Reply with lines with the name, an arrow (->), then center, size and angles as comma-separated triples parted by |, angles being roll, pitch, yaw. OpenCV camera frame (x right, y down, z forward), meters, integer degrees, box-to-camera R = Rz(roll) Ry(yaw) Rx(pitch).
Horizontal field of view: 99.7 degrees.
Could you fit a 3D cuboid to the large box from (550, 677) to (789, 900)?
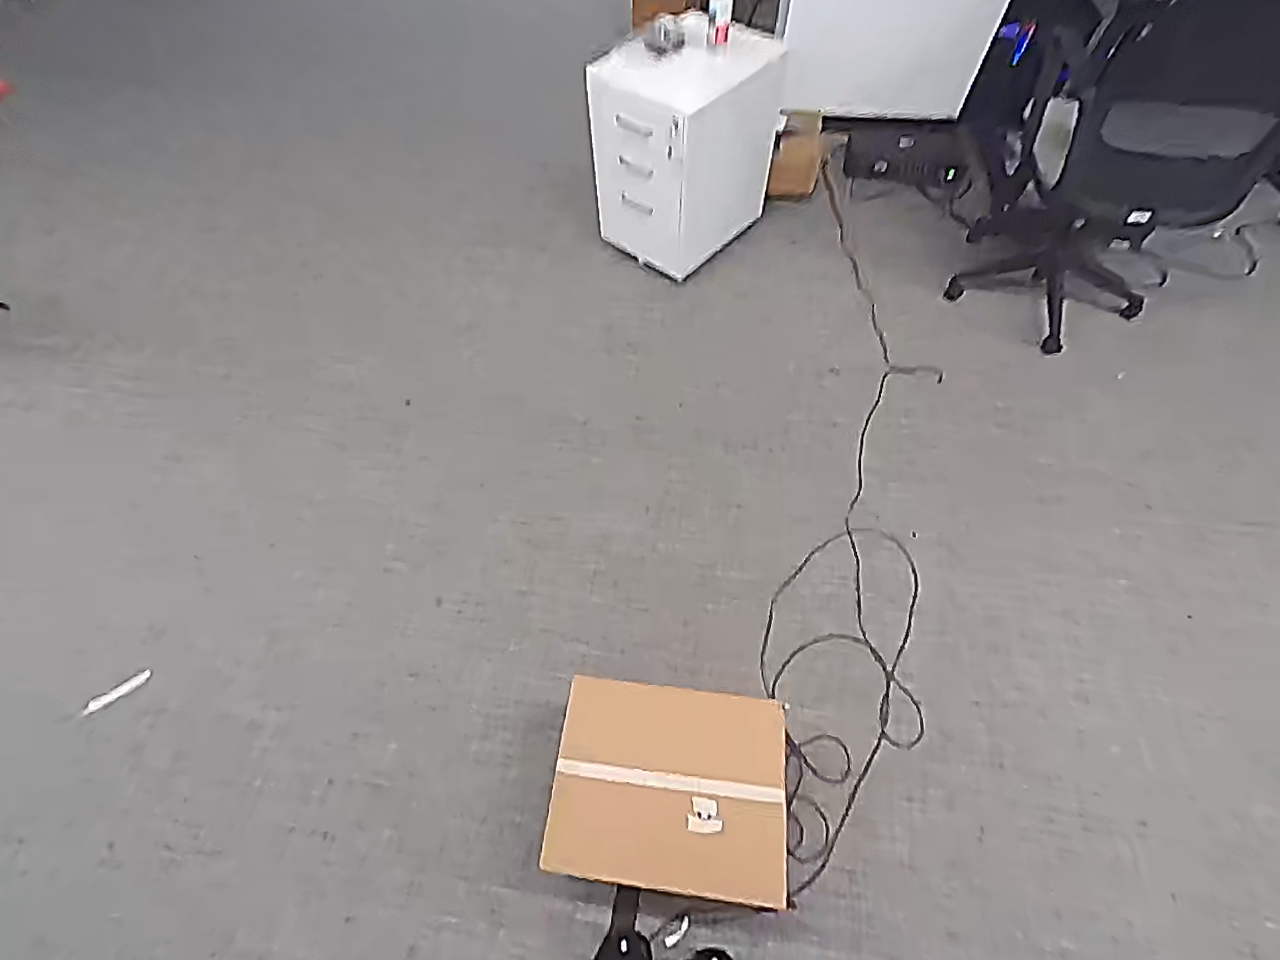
large box -> 0.064, 0.607, 1.087 | 0.408, 0.320, 0.320 | 5, 60, 6
